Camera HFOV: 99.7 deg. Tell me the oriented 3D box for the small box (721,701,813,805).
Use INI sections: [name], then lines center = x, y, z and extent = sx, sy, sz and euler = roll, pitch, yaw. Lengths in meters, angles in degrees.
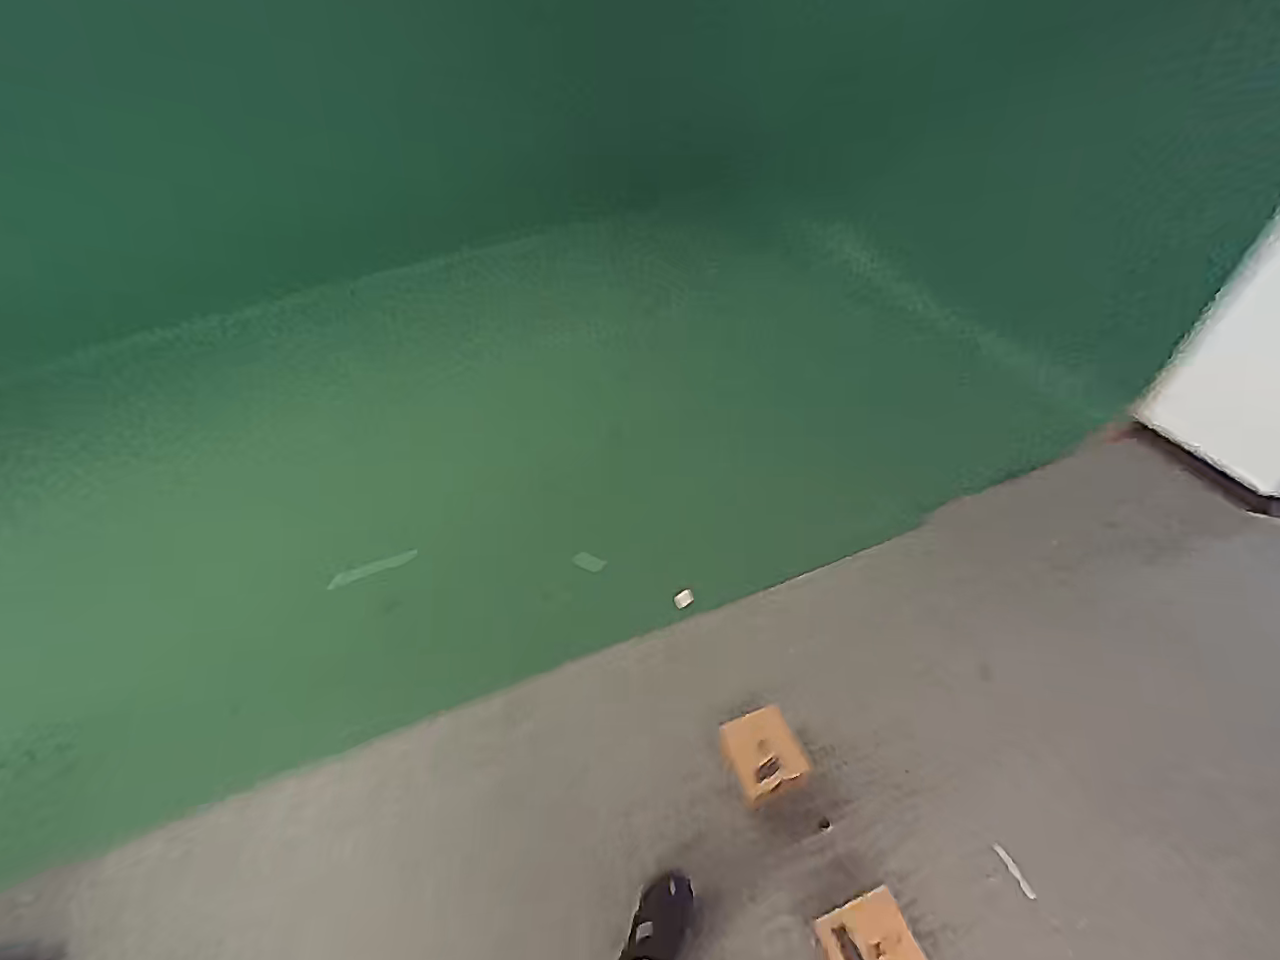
[small box]
center = 0.315, 0.700, 1.375
extent = 0.168, 0.176, 0.179
euler = -18, 47, -9
